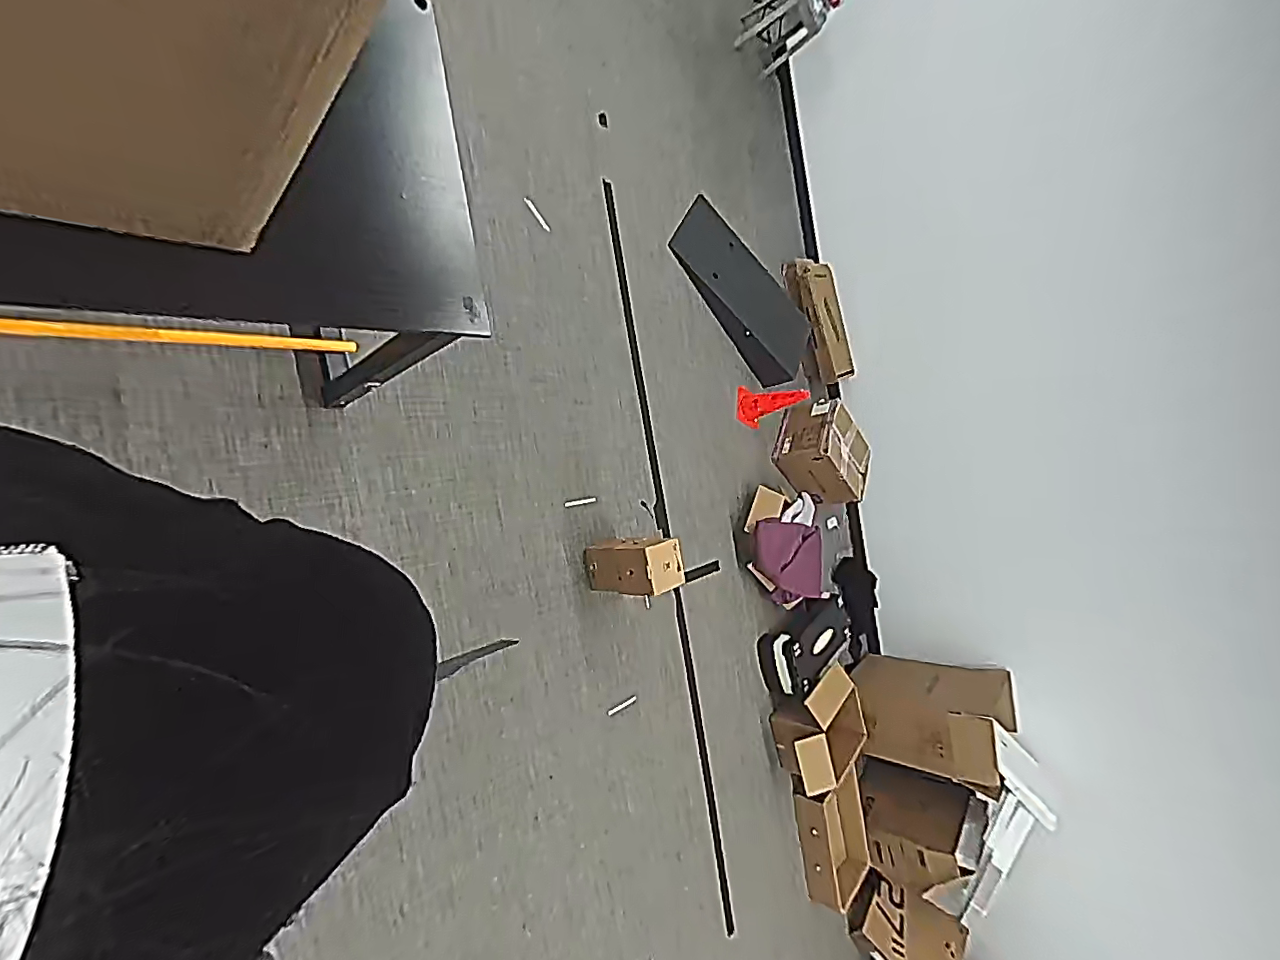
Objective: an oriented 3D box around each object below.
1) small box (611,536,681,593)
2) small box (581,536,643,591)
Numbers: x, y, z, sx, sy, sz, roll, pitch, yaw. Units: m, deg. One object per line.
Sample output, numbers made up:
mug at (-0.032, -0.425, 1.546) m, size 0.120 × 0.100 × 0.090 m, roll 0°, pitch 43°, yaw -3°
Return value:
small box at (0.015, 0.295, 1.896) m, size 0.179 × 0.176 × 0.168 m, roll -10°, pitch 91°, yaw -47°
small box at (-0.093, 0.308, 2.021) m, size 0.179 × 0.176 × 0.168 m, roll -12°, pitch 92°, yaw -46°
